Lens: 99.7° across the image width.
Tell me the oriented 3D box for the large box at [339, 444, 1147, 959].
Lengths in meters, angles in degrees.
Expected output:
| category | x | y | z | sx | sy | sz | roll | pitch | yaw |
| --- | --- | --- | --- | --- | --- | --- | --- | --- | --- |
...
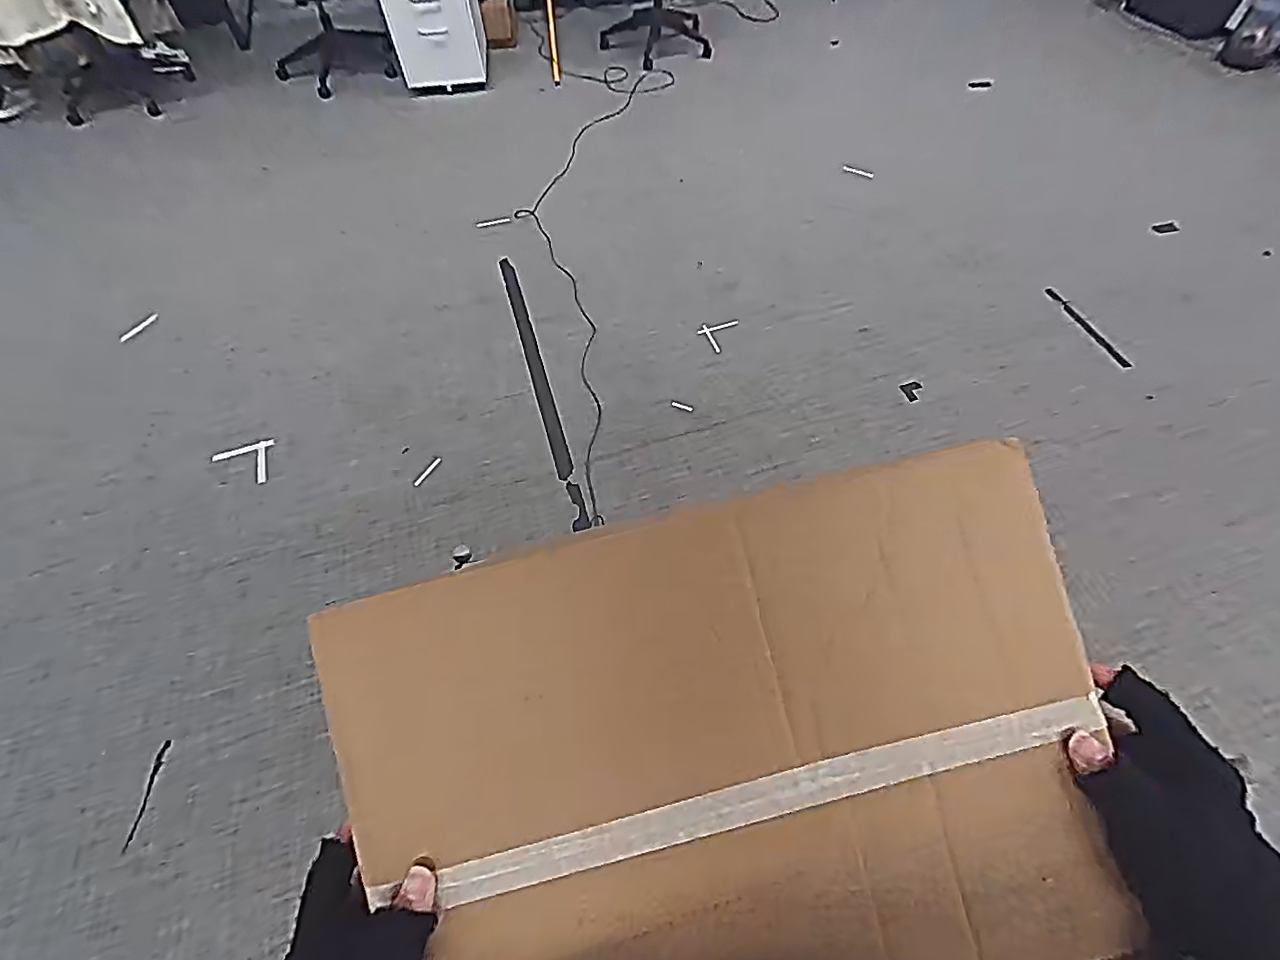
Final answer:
| category | x | y | z | sx | sy | sz | roll | pitch | yaw |
| --- | --- | --- | --- | --- | --- | --- | --- | --- | --- |
| large box | 0.053 | 0.186 | 0.454 | 0.408 | 0.320 | 0.320 | -15 | 88 | -1 |
